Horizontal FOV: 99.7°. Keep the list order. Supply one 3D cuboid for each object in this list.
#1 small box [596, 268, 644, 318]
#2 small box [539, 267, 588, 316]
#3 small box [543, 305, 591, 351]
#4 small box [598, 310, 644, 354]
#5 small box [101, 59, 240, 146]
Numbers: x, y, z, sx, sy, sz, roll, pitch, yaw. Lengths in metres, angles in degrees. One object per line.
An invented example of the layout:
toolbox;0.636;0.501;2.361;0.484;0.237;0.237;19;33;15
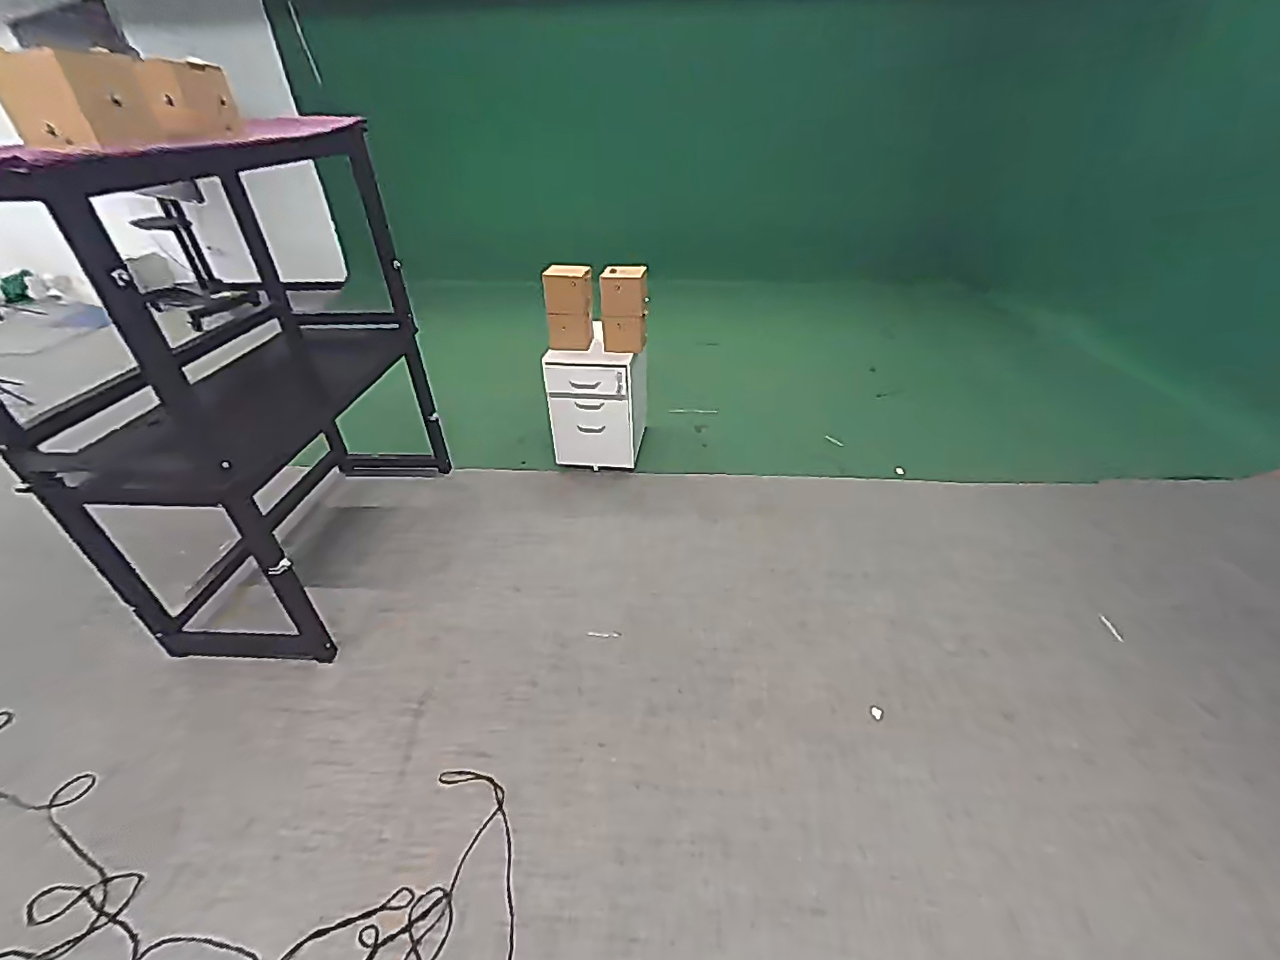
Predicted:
small box;-0.082;-0.807;2.330;0.179;0.176;0.168;4;36;9
small box;-0.331;-0.830;2.376;0.179;0.176;0.168;5;35;6
small box;-0.329;-0.696;2.470;0.179;0.176;0.168;3;36;6
small box;-0.082;-0.677;2.430;0.179;0.176;0.168;4;36;9
small box;-1.175;-0.956;1.373;0.179;0.176;0.168;2;34;5
